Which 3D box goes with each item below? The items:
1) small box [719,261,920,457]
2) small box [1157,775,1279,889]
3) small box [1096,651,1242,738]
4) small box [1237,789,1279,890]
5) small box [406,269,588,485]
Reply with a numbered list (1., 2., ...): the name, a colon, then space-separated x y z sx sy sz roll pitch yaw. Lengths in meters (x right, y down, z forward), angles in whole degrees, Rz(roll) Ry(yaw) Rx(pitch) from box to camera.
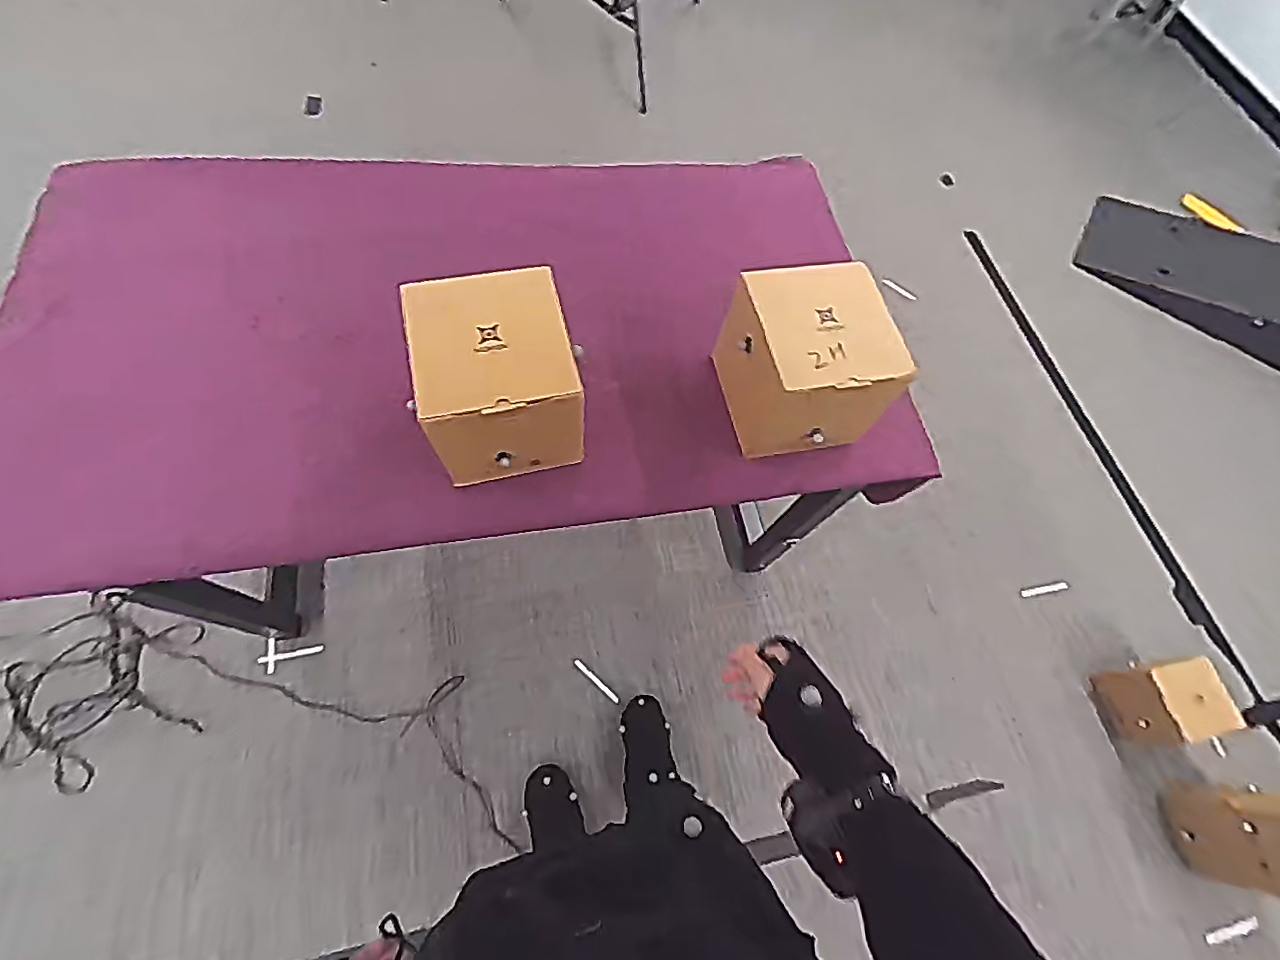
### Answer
1. small box: 0.213 -0.152 0.702 0.168 0.176 0.179 -9 68 -10
2. small box: 1.367 0.795 1.239 0.168 0.176 0.179 -4 68 -9
3. small box: 1.294 0.533 1.343 0.179 0.176 0.168 -9 69 -12
4. small box: 1.380 0.734 1.086 0.179 0.176 0.168 -5 68 -10
5. small box: -0.163 -0.116 0.642 0.168 0.176 0.179 -13 69 -12
